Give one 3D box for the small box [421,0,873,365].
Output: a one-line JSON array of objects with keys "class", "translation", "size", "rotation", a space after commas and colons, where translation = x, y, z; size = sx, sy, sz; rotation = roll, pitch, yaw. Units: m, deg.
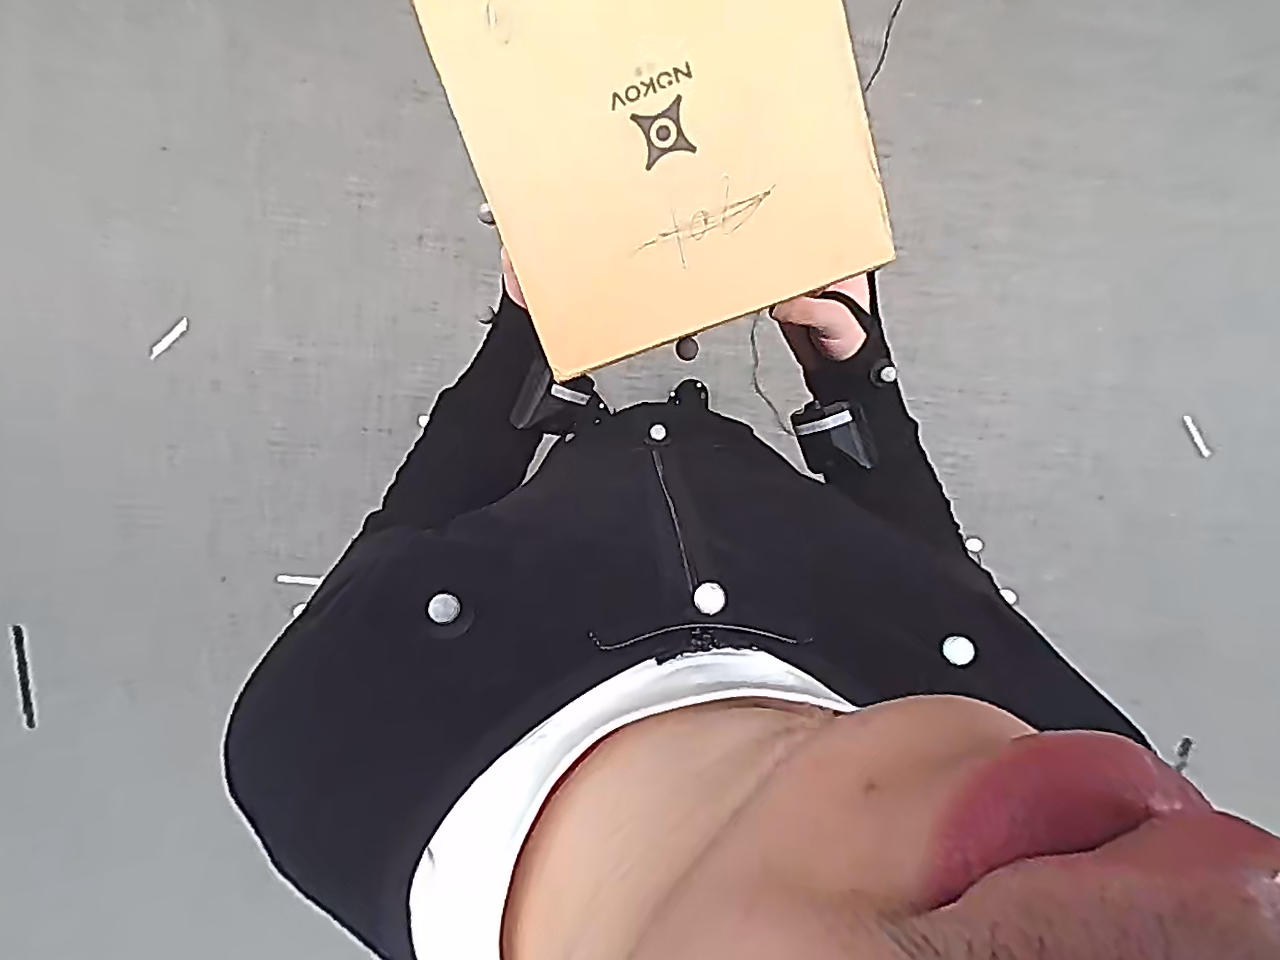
[{"class": "small box", "translation": [0.009, -0.179, 0.320], "size": [0.168, 0.176, 0.179], "rotation": [-18, 104, 7]}]
